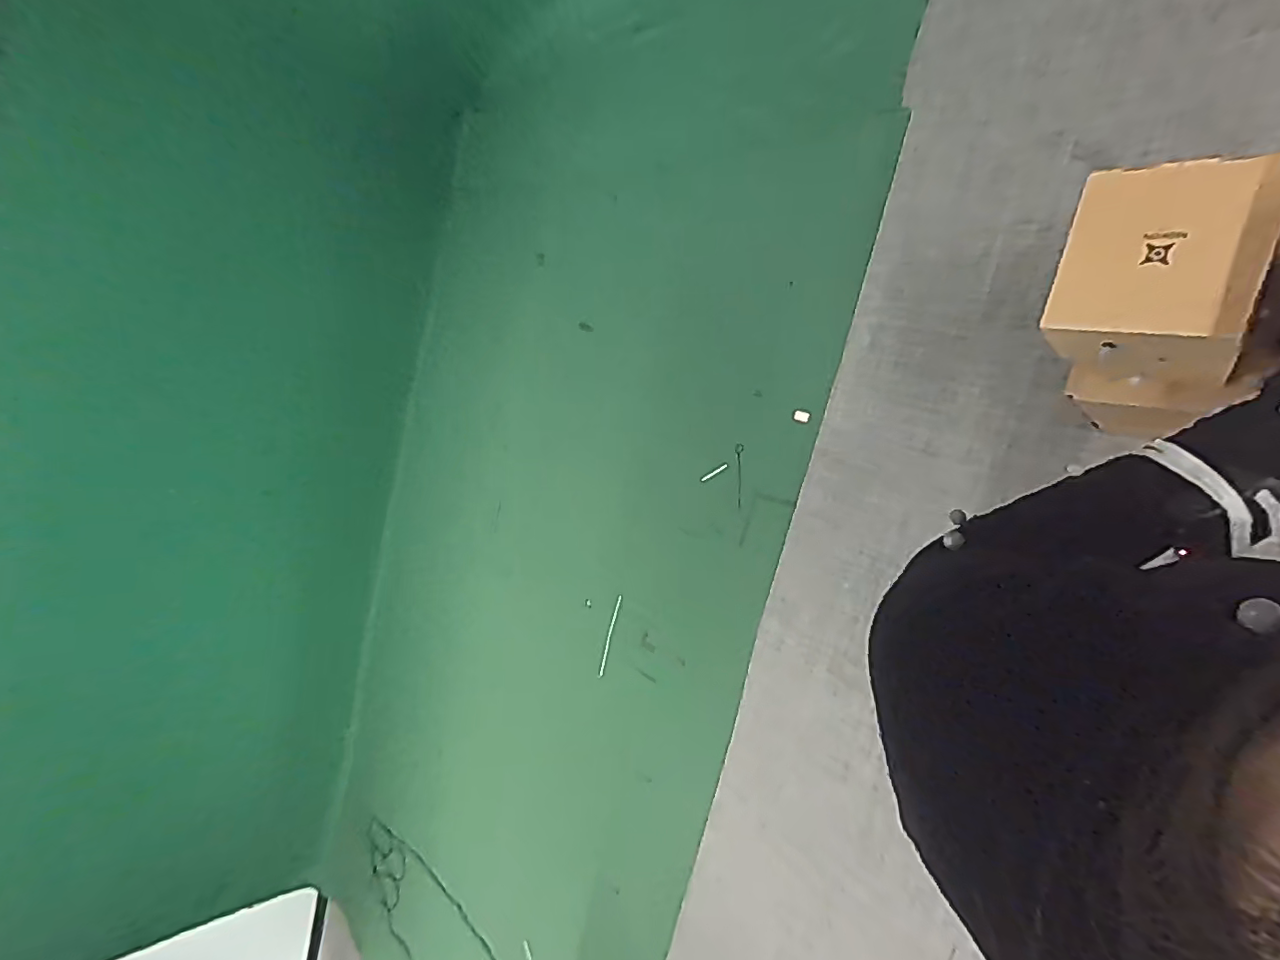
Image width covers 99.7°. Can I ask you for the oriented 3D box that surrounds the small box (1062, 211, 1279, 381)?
[{"bbox_3d":[0.720,-0.247,0.748,0.168,0.176,0.179,22,104,43],"label":"small box"}]
